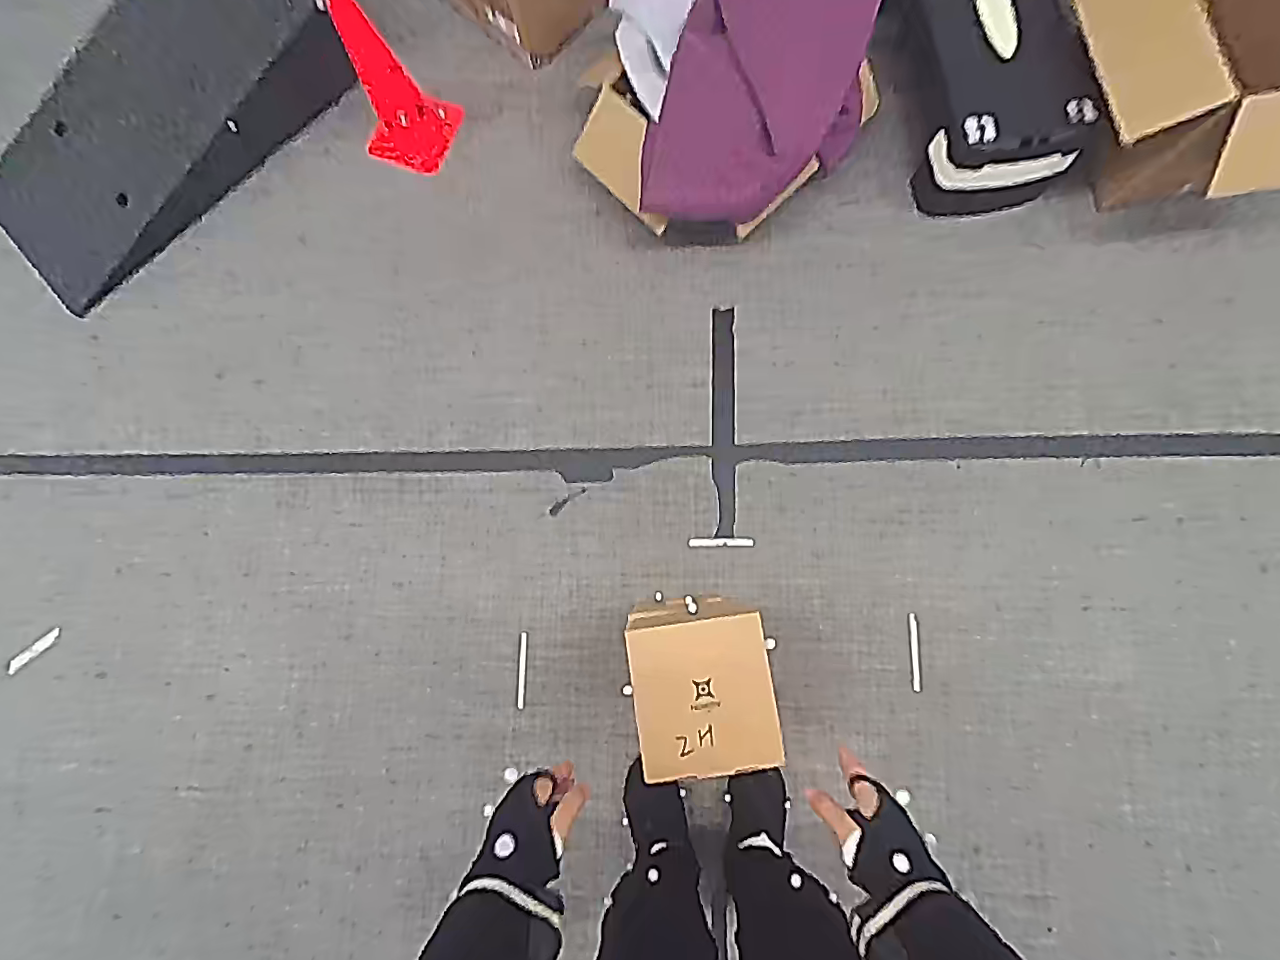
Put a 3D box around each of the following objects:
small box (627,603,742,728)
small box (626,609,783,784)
[{"bbox_3d":[0.077,0.291,0.873,0.179,0.176,0.168,-5,81,2],"label":"small box"},{"bbox_3d":[0.077,0.267,0.709,0.168,0.176,0.179,-8,81,2],"label":"small box"}]
